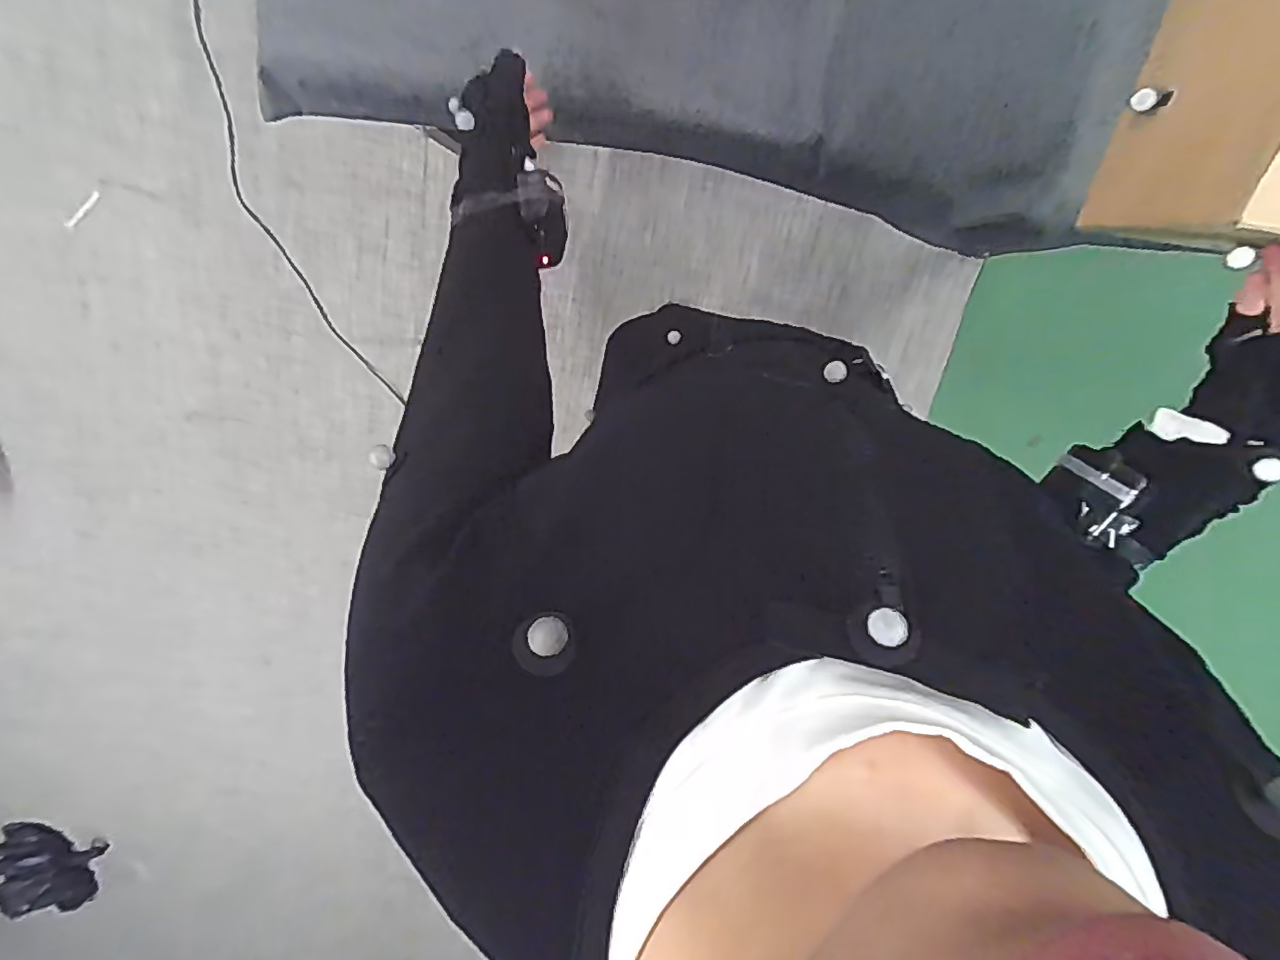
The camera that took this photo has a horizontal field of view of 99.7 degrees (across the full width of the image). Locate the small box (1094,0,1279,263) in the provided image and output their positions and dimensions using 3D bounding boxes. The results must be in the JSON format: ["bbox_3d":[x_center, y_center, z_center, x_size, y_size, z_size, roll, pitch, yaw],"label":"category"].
[{"bbox_3d":[0.458,-0.242,0.355,0.168,0.176,0.179,10,116,4],"label":"small box"}]
